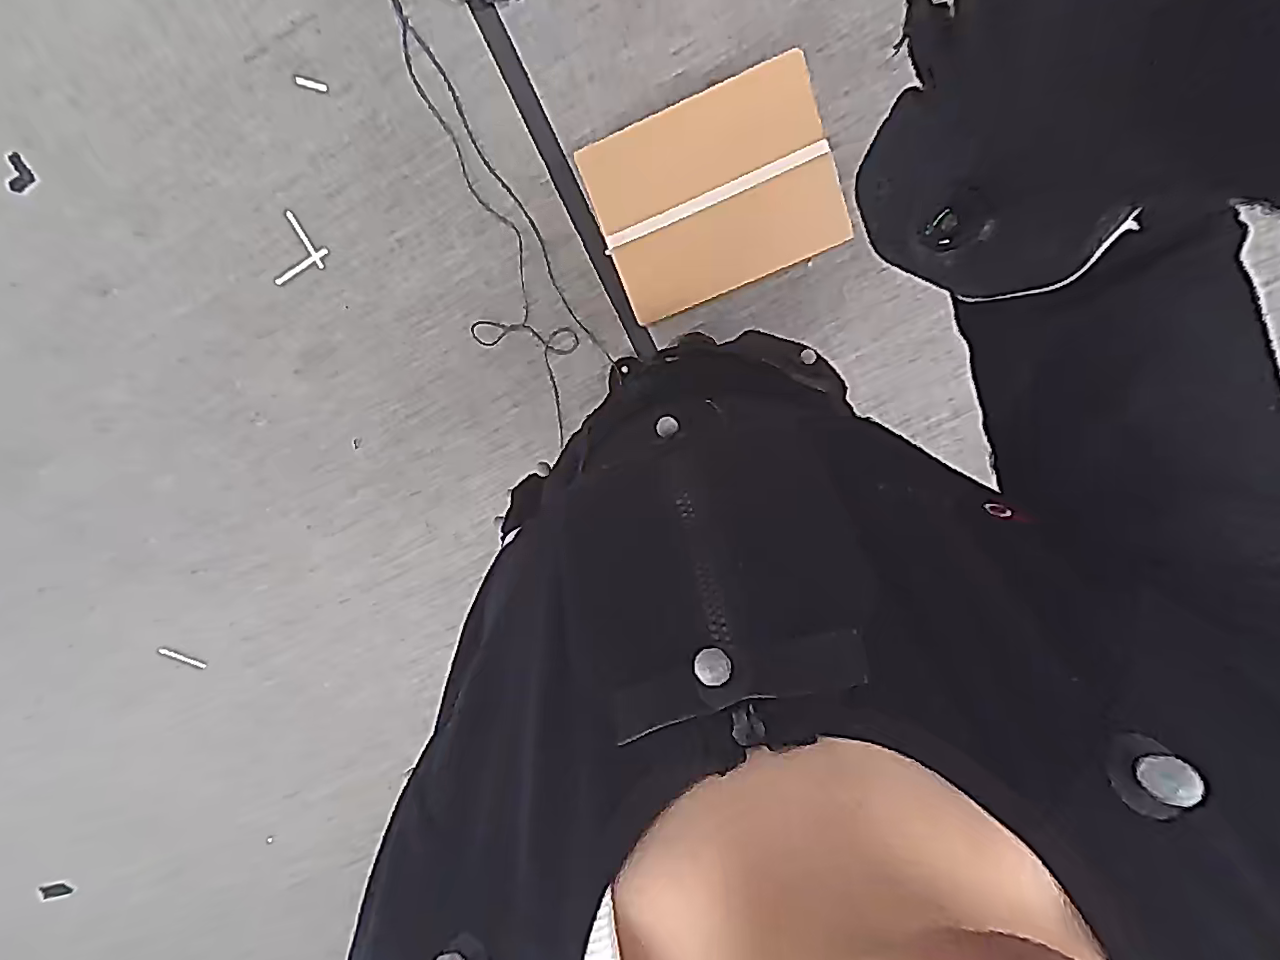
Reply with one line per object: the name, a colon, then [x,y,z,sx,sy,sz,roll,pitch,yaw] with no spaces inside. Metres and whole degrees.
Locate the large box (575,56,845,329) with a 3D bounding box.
large box: [0.131,-0.527,1.084,0.408,0.320,0.320,-21,103,8]
